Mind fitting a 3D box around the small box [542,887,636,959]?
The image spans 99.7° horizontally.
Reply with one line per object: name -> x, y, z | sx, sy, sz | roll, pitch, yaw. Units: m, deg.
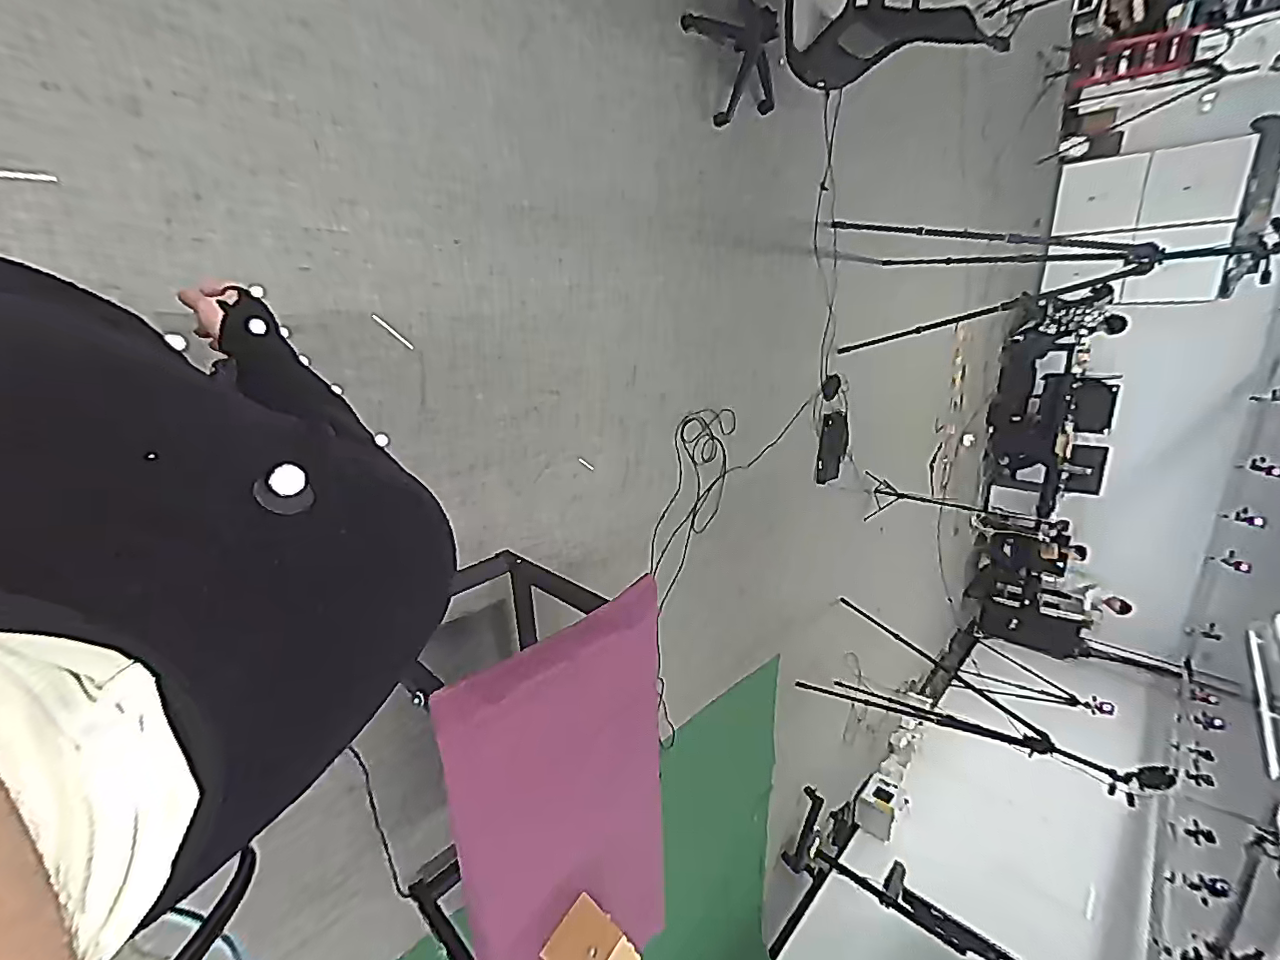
small box -> -0.145, 1.276, 1.472 | 0.179, 0.176, 0.168 | -41, 127, -32
